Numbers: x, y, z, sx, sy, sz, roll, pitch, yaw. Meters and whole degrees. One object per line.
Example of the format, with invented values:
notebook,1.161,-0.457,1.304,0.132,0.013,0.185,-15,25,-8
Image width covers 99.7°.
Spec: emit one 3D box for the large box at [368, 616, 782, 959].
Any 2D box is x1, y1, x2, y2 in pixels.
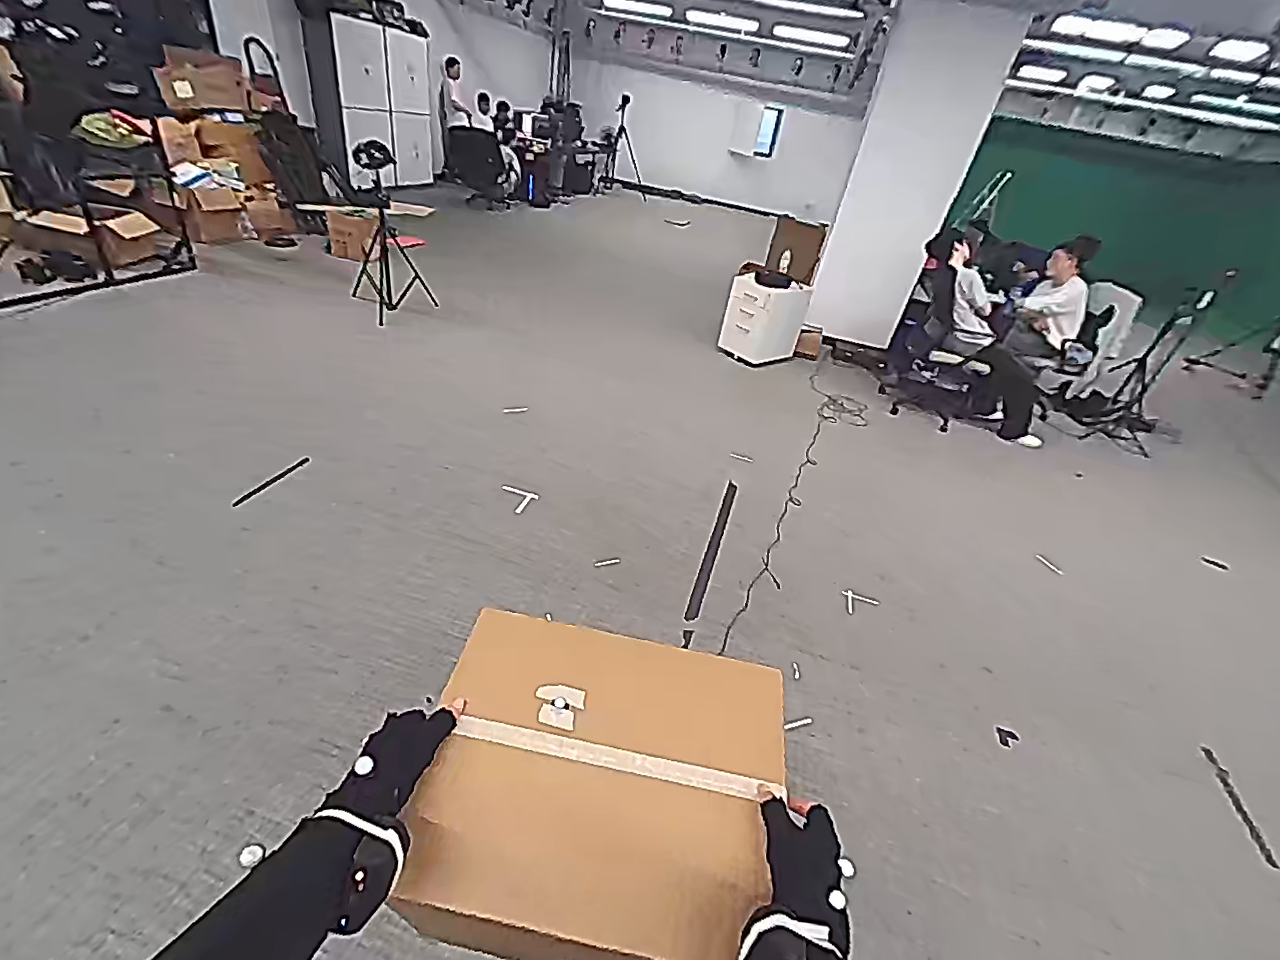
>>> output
large box,-0.053,0.424,0.712,0.408,0.320,0.320,10,42,4
